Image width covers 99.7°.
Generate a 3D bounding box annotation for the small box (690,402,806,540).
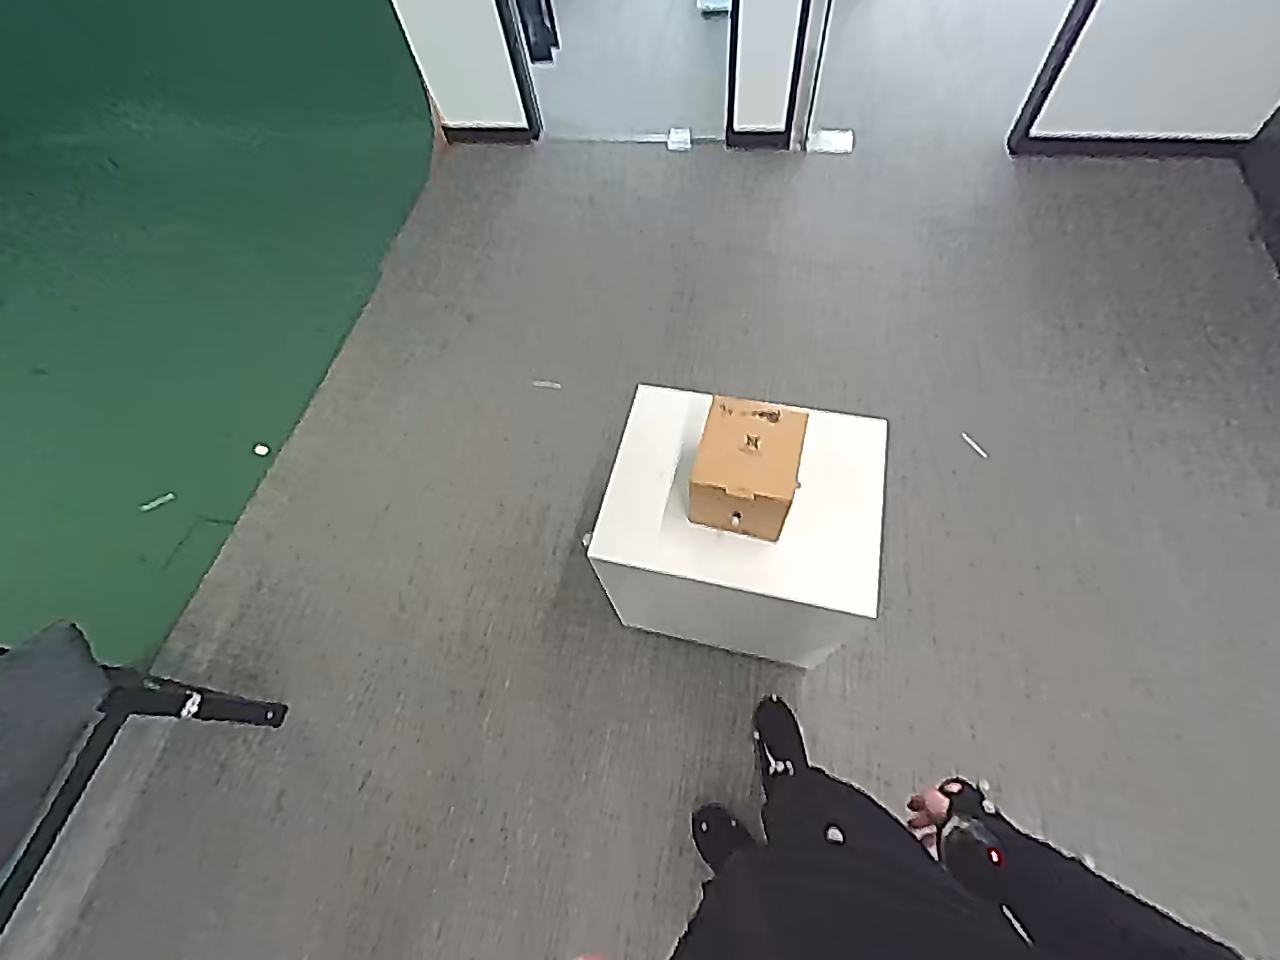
[{"bbox_3d":[0.189,-0.011,0.957,0.168,0.176,0.179,10,62,12],"label":"small box"}]
